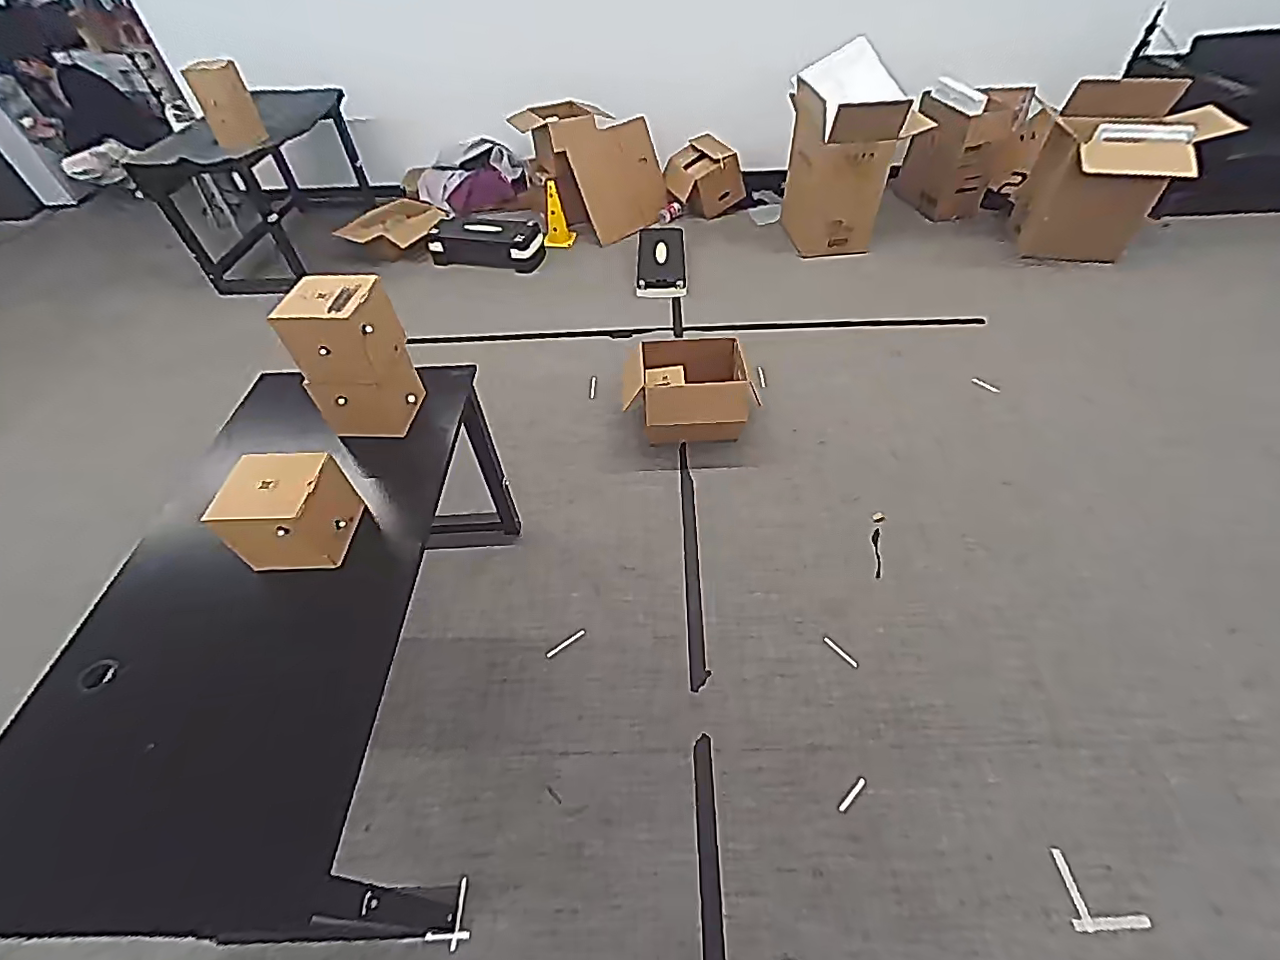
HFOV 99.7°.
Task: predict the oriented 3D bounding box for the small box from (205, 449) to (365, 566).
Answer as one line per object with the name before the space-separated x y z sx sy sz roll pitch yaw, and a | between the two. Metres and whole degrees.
small box | -0.683 0.057 1.065 0.179 0.176 0.168 -2 49 1

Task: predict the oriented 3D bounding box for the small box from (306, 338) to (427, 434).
small box | -0.648 -0.225 1.305 0.179 0.176 0.168 2 50 5
